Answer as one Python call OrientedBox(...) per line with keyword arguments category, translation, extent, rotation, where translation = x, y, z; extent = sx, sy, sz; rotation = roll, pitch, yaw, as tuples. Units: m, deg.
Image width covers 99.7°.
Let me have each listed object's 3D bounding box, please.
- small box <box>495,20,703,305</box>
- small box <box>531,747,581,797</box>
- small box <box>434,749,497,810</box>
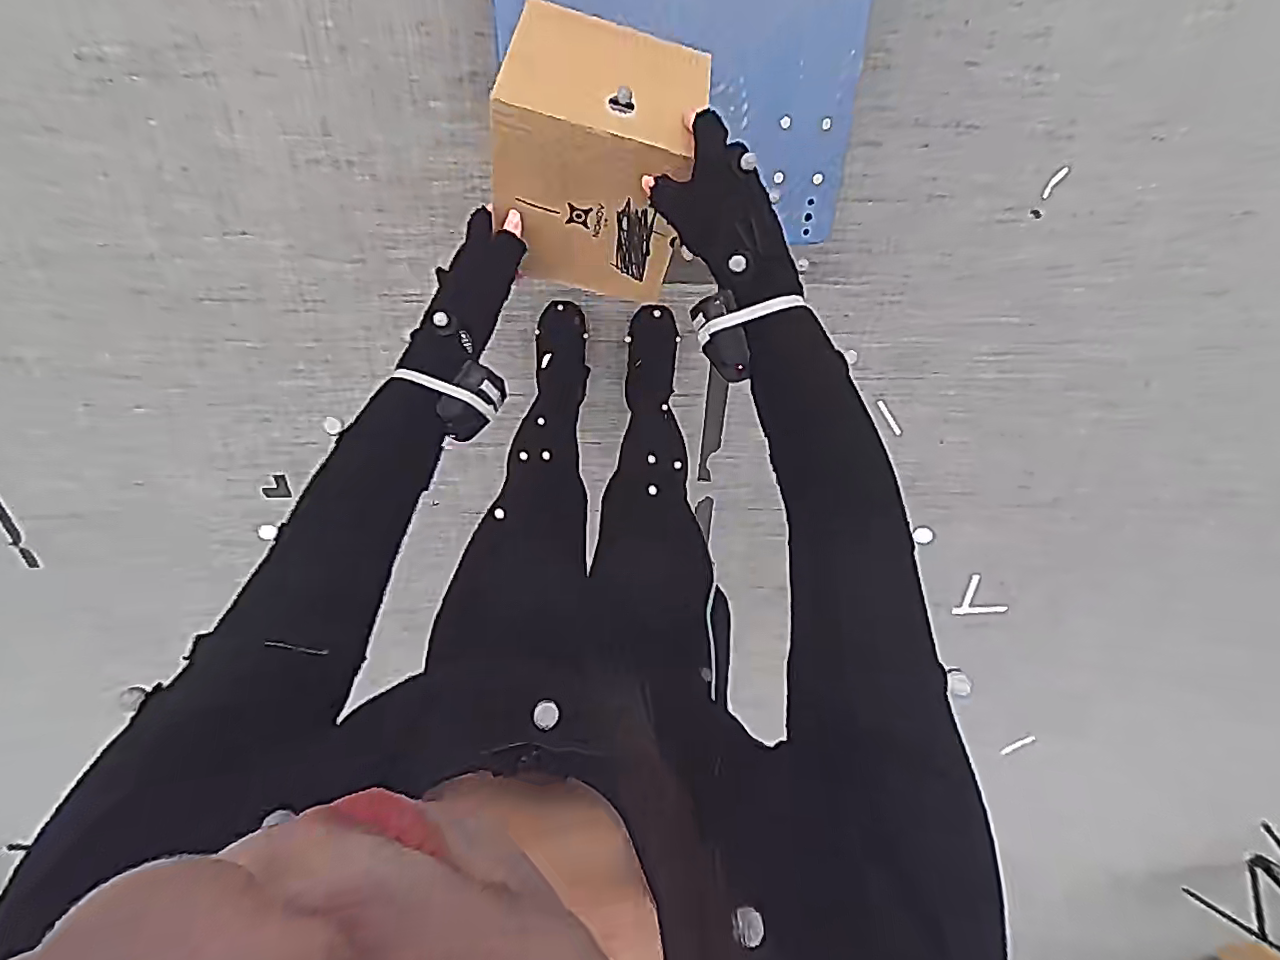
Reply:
OrientedBox(category="small box", translation=(-0.042, -0.312, 0.543), extent=(0.179, 0.176, 0.168), rotation=(11, 151, -9))
OrientedBox(category="small box", translation=(-0.302, 1.101, 1.965), extent=(0.168, 0.176, 0.179), rotation=(2, 119, -4))
OrientedBox(category="small box", translation=(-0.622, 1.102, 1.953), extent=(0.168, 0.176, 0.179), rotation=(-1, 120, -1))
